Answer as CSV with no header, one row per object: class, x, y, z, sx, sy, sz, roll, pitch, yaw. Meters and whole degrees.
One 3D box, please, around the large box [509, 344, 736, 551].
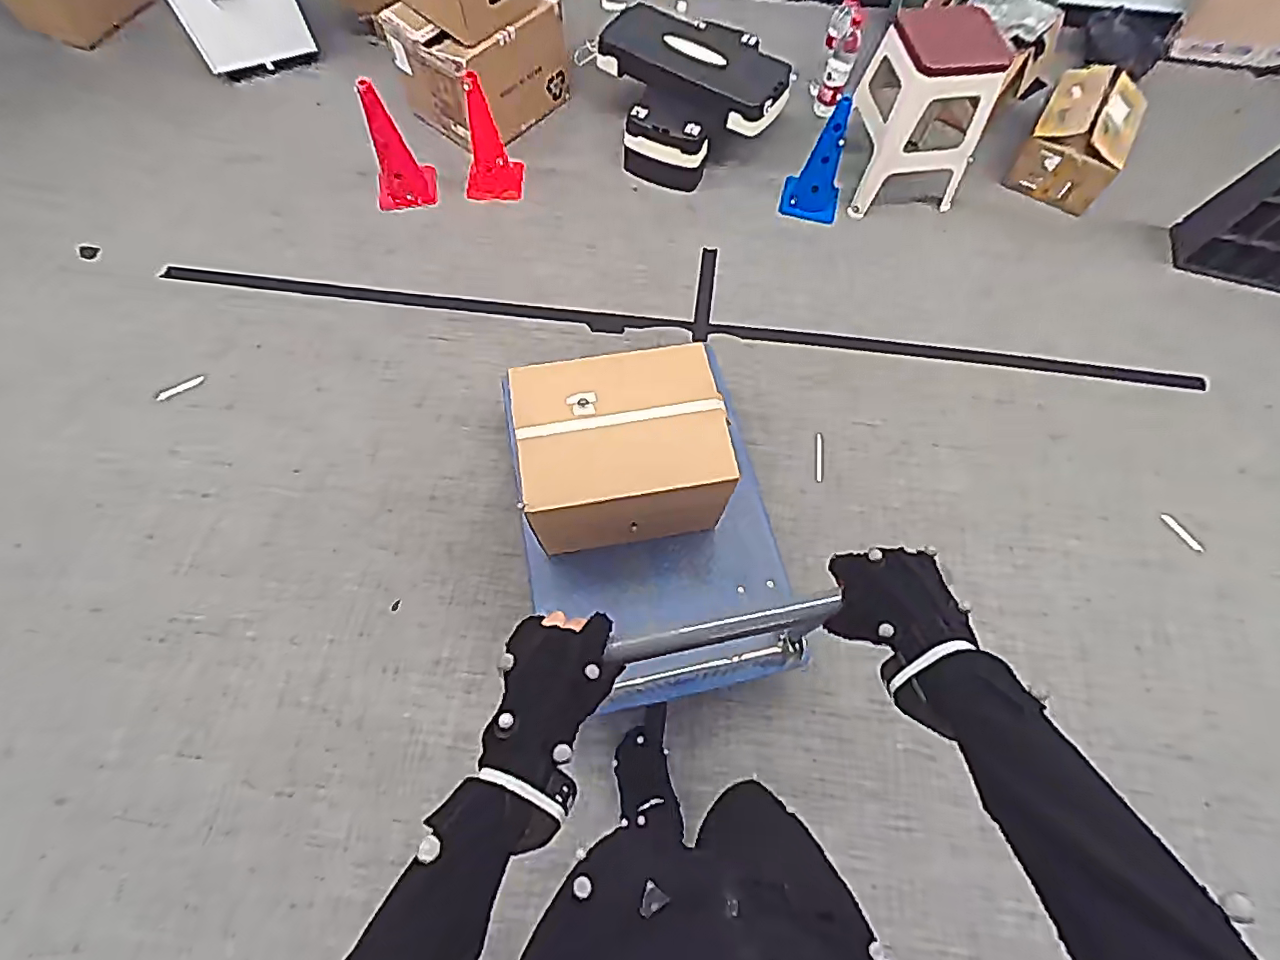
large box,-0.042,-0.055,1.190,0.408,0.320,0.320,-10,68,-5
